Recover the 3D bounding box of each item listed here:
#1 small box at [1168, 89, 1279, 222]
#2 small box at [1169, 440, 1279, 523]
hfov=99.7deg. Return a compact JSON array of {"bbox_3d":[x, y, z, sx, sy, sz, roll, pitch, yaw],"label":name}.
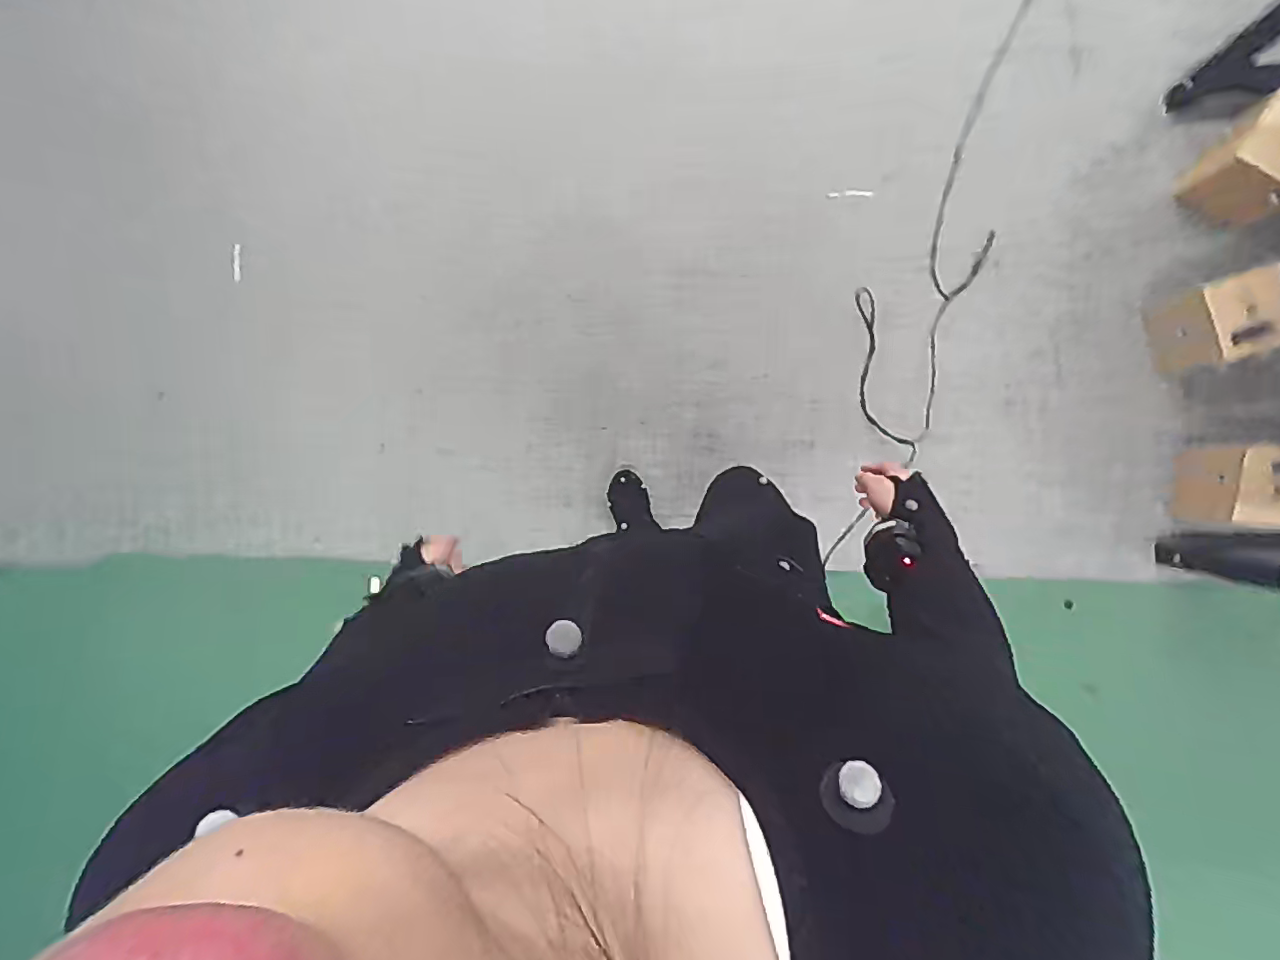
[{"bbox_3d":[1.399,-0.733,1.244,0.179,0.176,0.168,33,94,4],"label":"small box"},{"bbox_3d":[1.395,0.003,1.257,0.168,0.176,0.179,5,93,6],"label":"small box"}]
